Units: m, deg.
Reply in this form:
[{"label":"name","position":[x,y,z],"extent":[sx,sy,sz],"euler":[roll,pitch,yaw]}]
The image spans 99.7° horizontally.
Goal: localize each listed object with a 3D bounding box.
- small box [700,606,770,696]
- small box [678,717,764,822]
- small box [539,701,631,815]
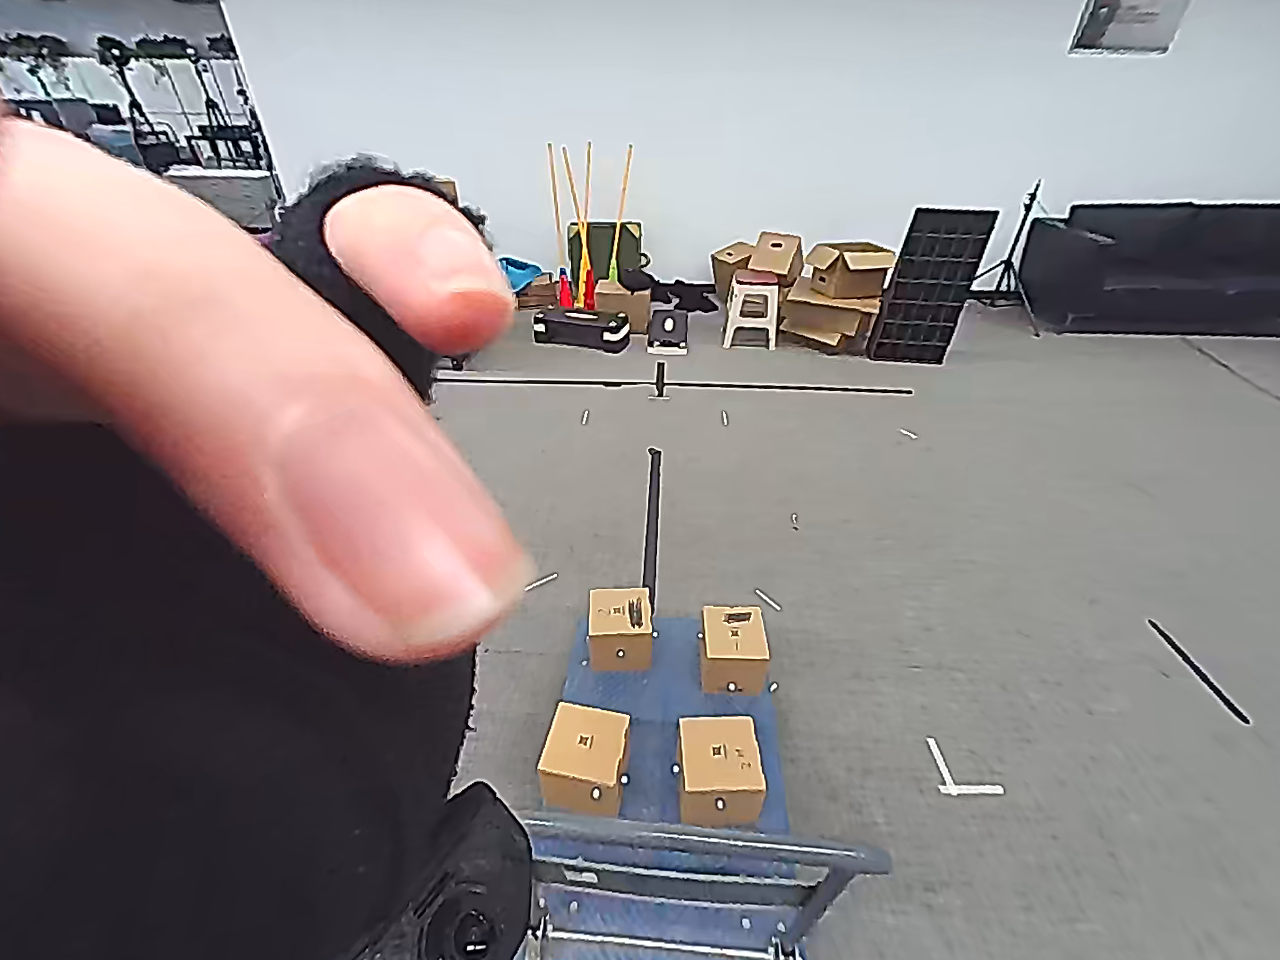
[{"label":"small box","position":[0.260,0.480,1.527],"extent":[0.168,0.176,0.179],"euler":[1,37,1]},{"label":"small box","position":[0.179,0.675,1.260],"extent":[0.179,0.176,0.168],"euler":[0,36,-1]},{"label":"small box","position":[-0.124,0.657,1.277],"extent":[0.179,0.176,0.168],"euler":[8,36,7]}]
